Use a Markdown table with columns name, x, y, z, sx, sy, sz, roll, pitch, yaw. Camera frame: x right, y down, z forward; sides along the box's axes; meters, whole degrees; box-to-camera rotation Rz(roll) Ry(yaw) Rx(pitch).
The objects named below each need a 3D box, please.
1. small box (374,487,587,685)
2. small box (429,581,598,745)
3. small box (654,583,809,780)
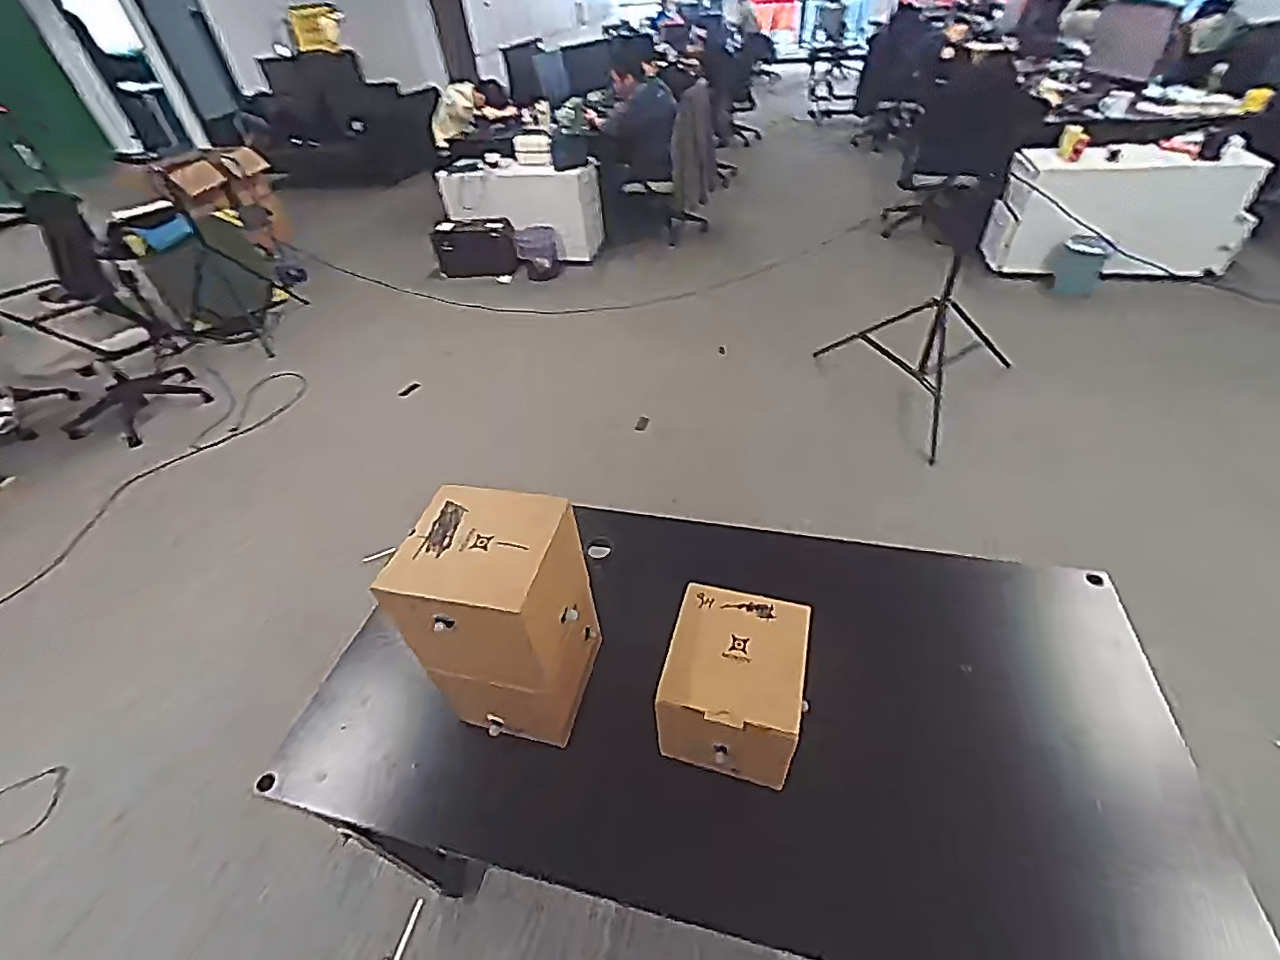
| name | x | y | z | sx | sy | sz | roll | pitch | yaw |
| --- | --- | --- | --- | --- | --- | --- | --- | --- | --- |
| small box | -0.178 | 0.130 | 0.666 | 0.179 | 0.176 | 0.168 | 6 | 44 | 12 |
| small box | -0.165 | 0.249 | 0.779 | 0.168 | 0.176 | 0.179 | 6 | 45 | 13 |
| small box | 0.125 | 0.270 | 0.724 | 0.168 | 0.176 | 0.179 | 9 | 45 | 15 |
